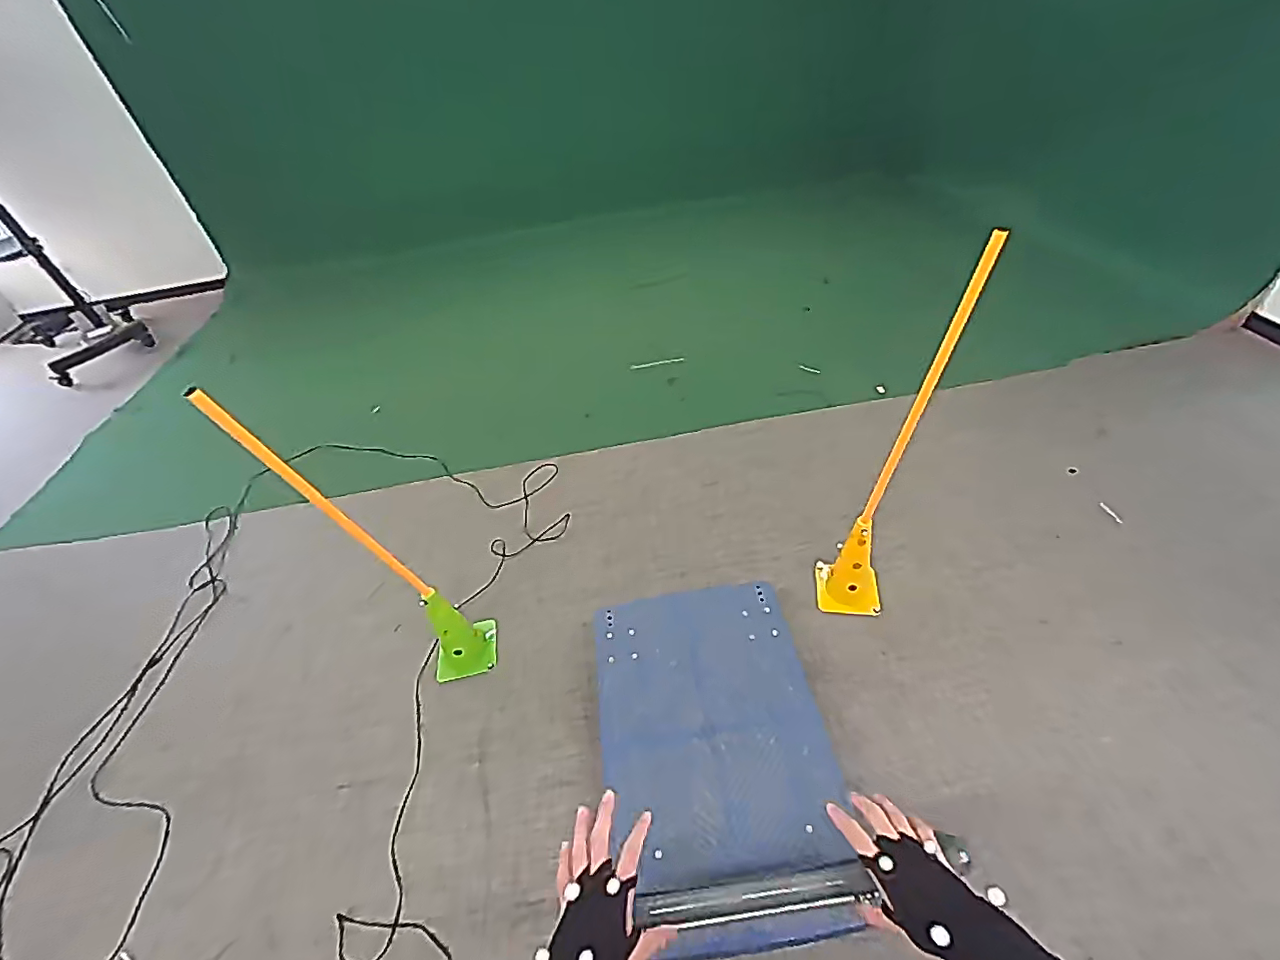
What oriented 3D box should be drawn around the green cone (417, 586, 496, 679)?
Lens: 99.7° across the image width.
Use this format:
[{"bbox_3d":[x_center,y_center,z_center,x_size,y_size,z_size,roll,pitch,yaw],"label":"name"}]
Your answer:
[{"bbox_3d":[-0.624,0.458,1.759,0.202,0.368,0.200,-14,44,-2],"label":"green cone"}]
